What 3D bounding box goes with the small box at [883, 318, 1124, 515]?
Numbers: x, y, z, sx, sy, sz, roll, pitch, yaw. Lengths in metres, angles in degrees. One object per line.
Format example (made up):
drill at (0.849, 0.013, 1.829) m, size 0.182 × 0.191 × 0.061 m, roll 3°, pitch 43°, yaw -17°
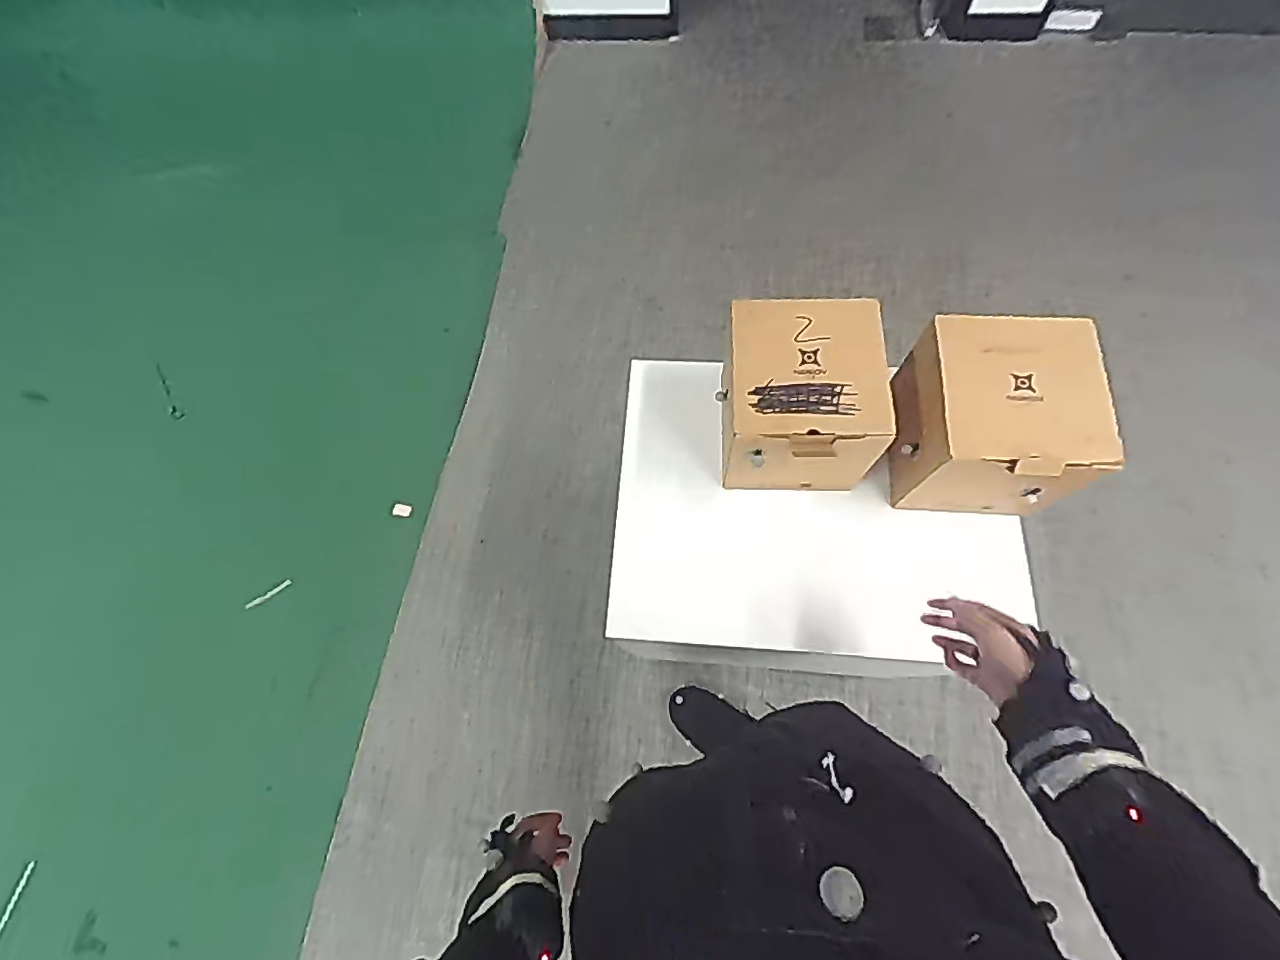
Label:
small box at (0.399, -0.065, 0.631) m, size 0.168 × 0.176 × 0.179 m, roll 3°, pitch 69°, yaw 5°
